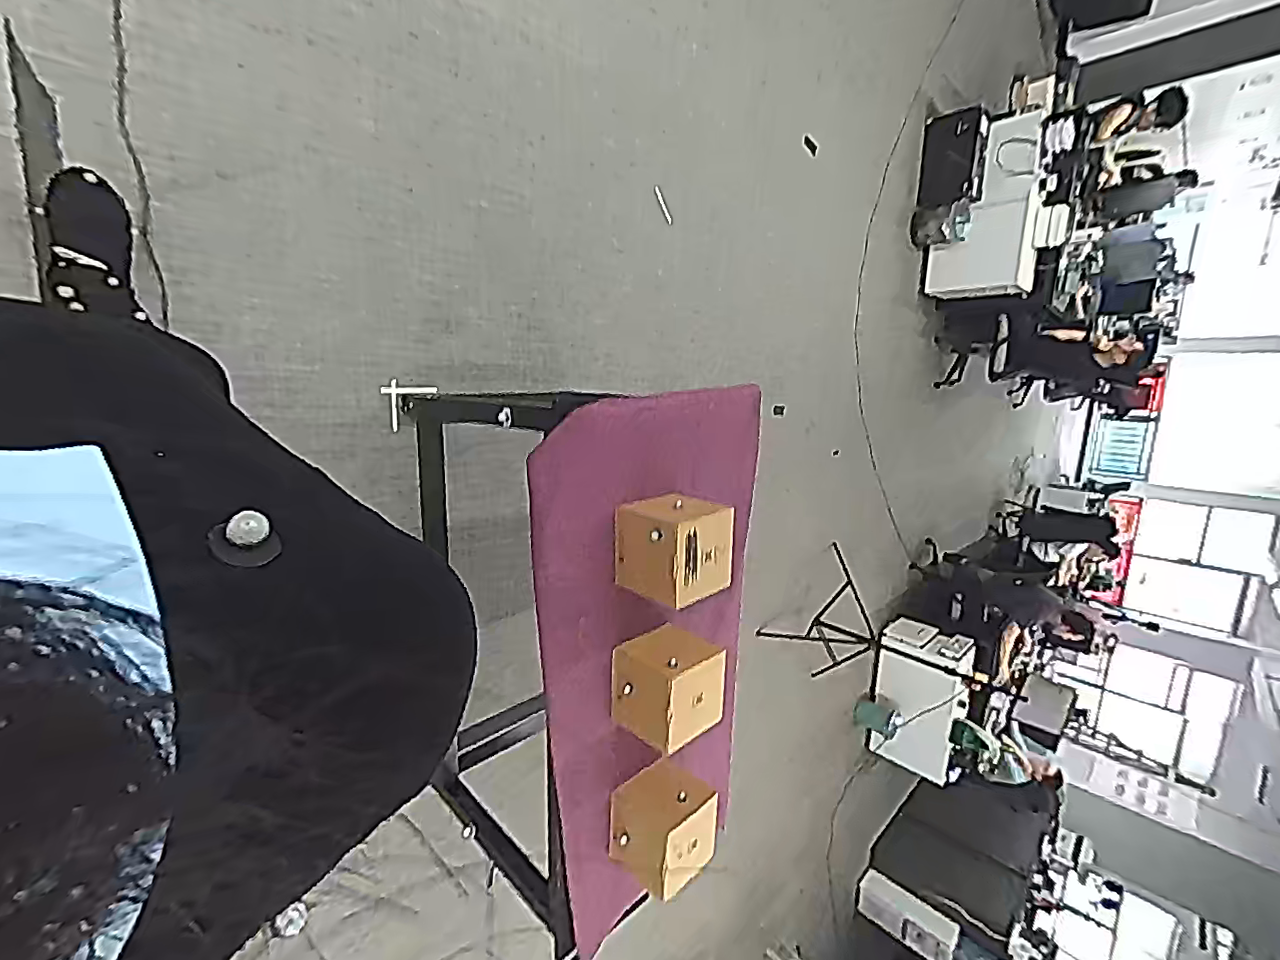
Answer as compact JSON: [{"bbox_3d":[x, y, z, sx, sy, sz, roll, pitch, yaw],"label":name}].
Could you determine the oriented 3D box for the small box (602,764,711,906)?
[{"bbox_3d":[0.036,0.775,1.207,0.179,0.176,0.168,-6,102,-46],"label":"small box"}]

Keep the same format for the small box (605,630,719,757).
[{"bbox_3d":[0.046,0.440,1.150,0.179,0.176,0.168,-9,105,-44],"label":"small box"}]
